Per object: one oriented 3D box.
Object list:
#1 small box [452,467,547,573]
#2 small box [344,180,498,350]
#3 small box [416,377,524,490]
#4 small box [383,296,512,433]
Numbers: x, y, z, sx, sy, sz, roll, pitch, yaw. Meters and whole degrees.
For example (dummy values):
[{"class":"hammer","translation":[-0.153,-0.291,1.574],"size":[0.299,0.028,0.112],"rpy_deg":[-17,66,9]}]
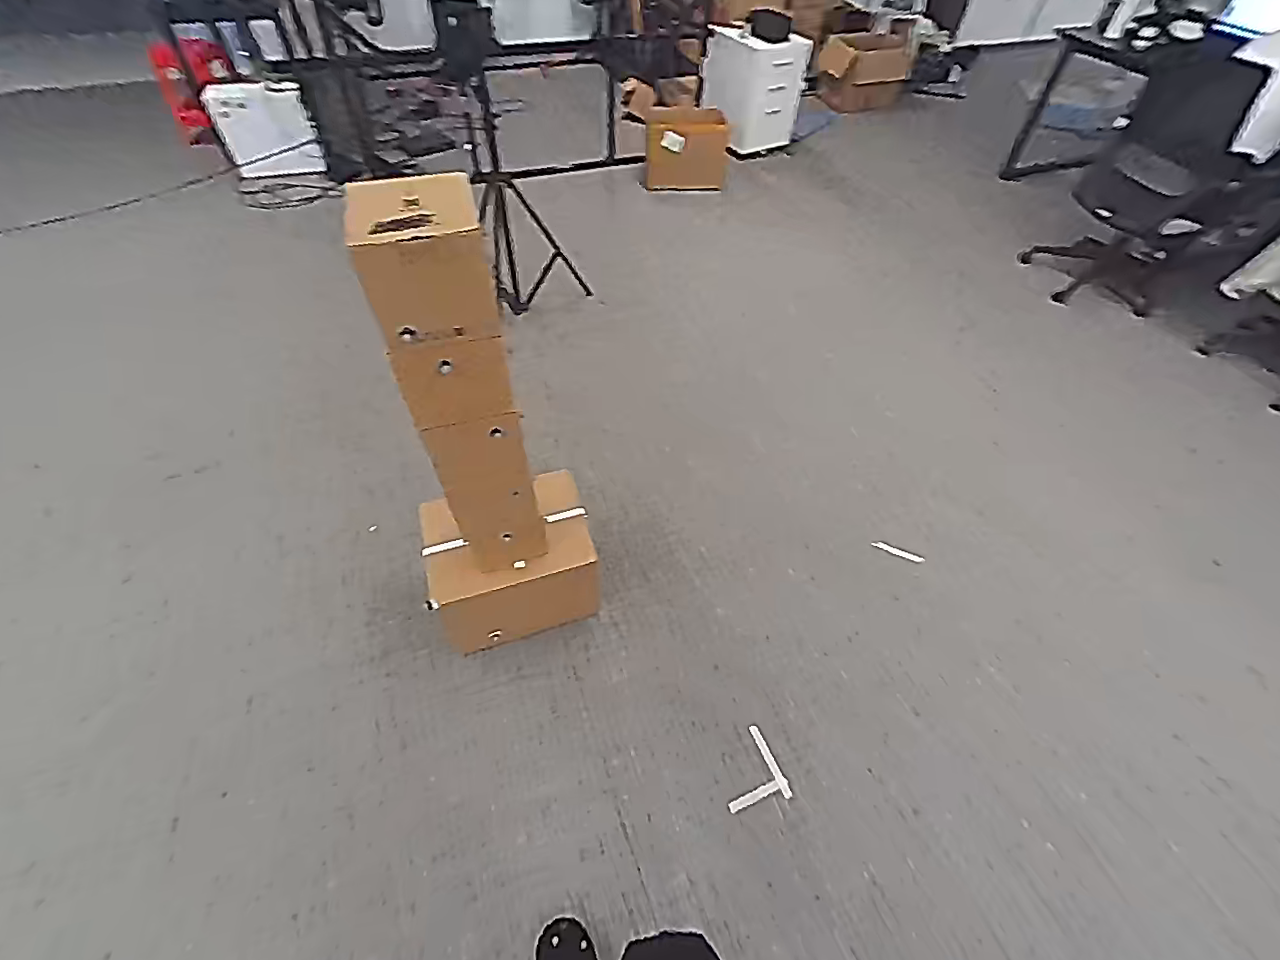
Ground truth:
[{"class":"small box","translation":[-0.334,0.100,1.305],"size":[0.179,0.176,0.168],"rpy_deg":[-16,55,-16]},{"class":"small box","translation":[-0.314,-0.307,0.793],"size":[0.168,0.176,0.179],"rpy_deg":[-13,53,-12]},{"class":"small box","translation":[-0.326,-0.104,1.047],"size":[0.179,0.176,0.168],"rpy_deg":[-13,54,-12]},{"class":"small box","translation":[-0.321,-0.205,0.921],"size":[0.179,0.176,0.168],"rpy_deg":[-13,54,-12]}]
